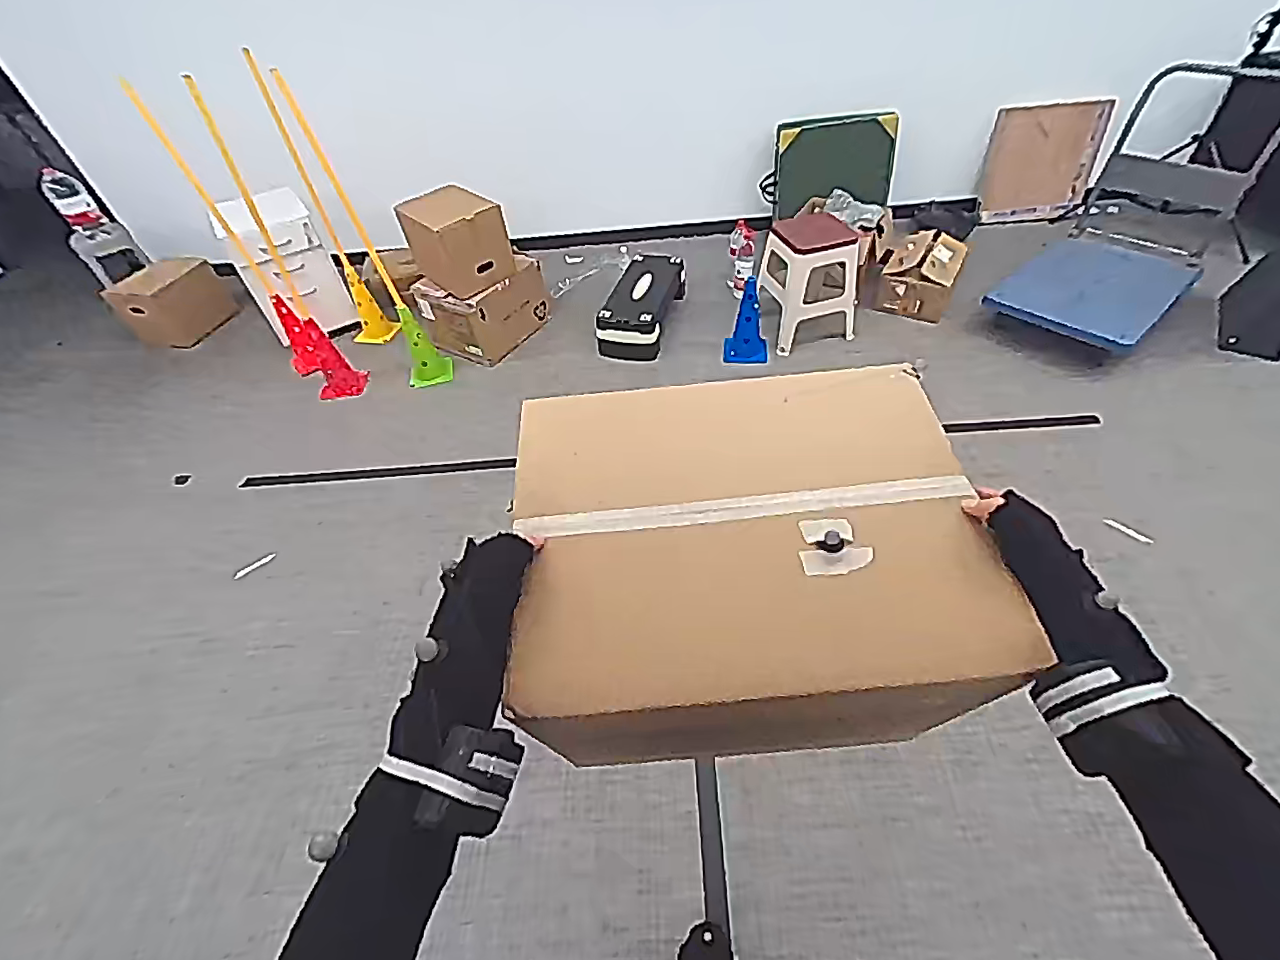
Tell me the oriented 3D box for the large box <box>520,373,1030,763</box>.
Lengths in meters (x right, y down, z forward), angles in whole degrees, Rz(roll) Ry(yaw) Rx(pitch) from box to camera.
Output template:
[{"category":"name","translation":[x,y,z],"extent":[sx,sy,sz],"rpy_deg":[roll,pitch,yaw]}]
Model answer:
[{"category":"large box","translation":[0.099,0.114,0.618],"extent":[0.408,0.320,0.320],"rpy_deg":[-6,56,1]}]
